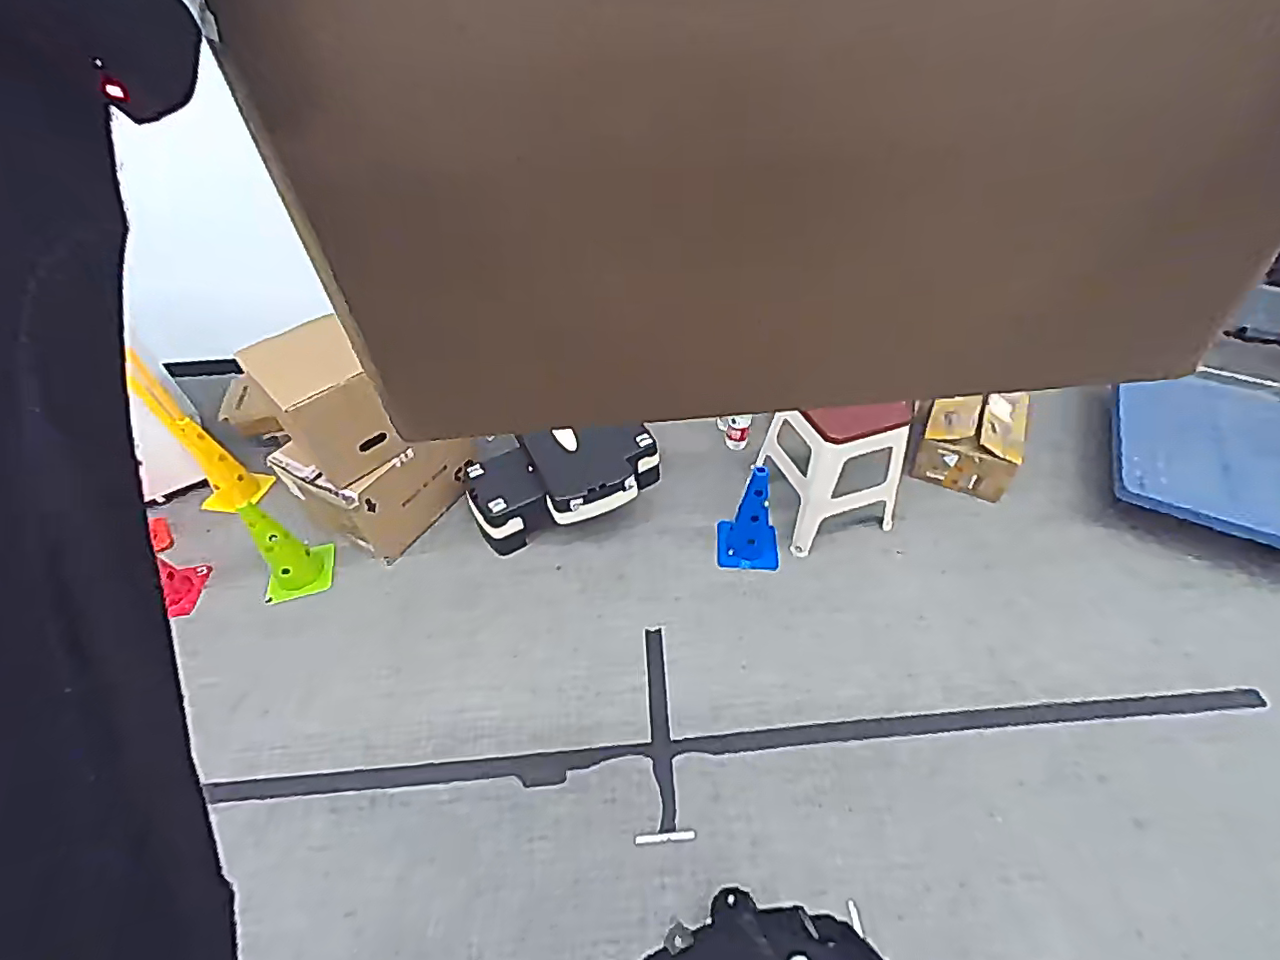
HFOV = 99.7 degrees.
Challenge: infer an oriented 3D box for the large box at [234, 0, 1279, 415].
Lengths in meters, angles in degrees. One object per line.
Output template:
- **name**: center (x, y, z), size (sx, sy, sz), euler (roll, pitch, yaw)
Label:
- **large box**: center (0.056, -0.256, 0.291), size (0.408, 0.320, 0.320), euler (-4, 43, -1)
